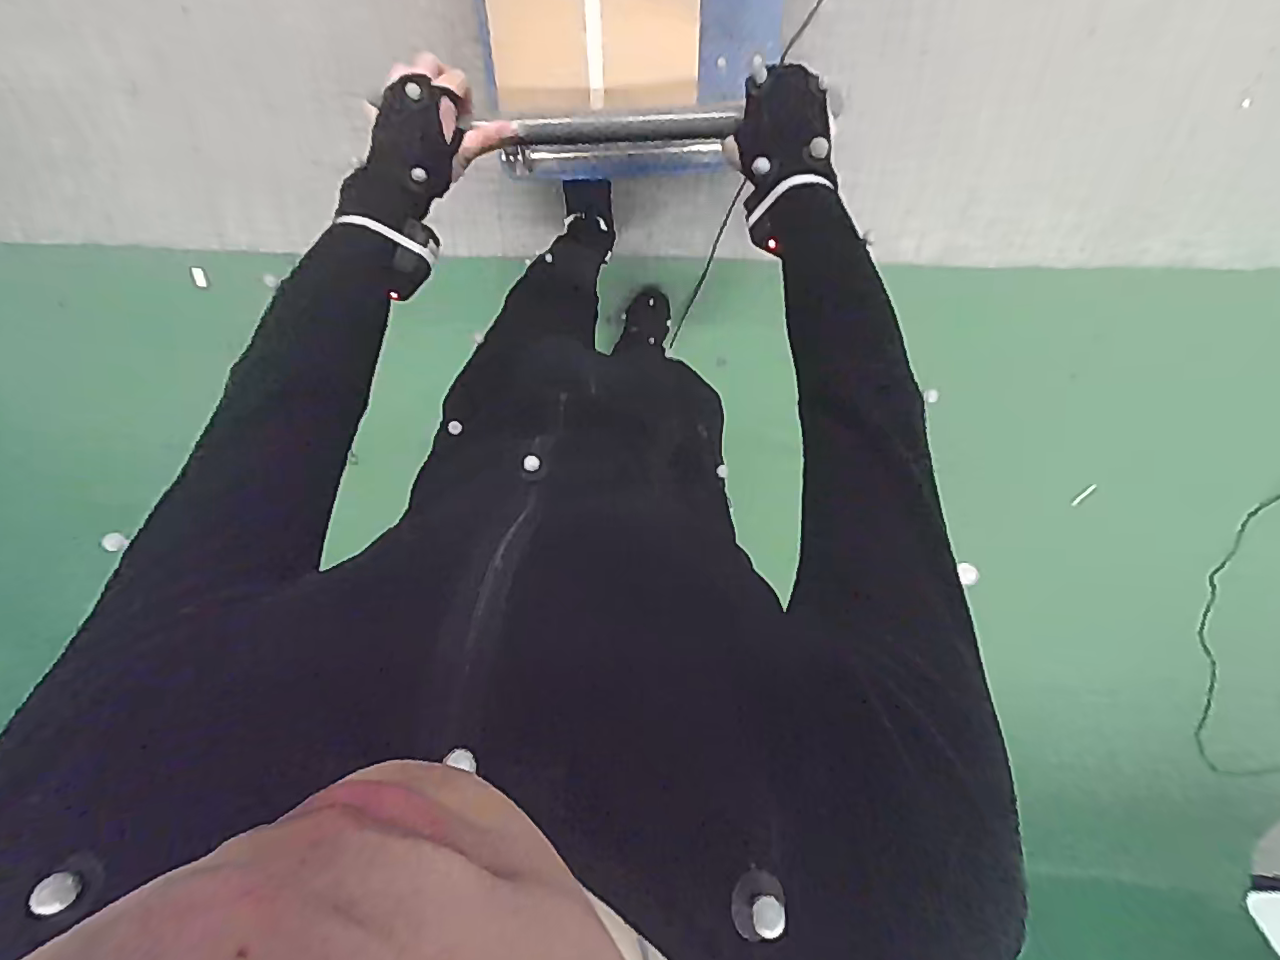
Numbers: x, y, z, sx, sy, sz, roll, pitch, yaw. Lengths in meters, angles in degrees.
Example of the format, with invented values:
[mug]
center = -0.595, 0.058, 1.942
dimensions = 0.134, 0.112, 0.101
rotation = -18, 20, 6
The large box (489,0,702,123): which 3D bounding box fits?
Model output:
[large box]
center = -0.061, -0.833, 0.875
dimensions = 0.320, 0.320, 0.408
rotation = 0, 121, 3
